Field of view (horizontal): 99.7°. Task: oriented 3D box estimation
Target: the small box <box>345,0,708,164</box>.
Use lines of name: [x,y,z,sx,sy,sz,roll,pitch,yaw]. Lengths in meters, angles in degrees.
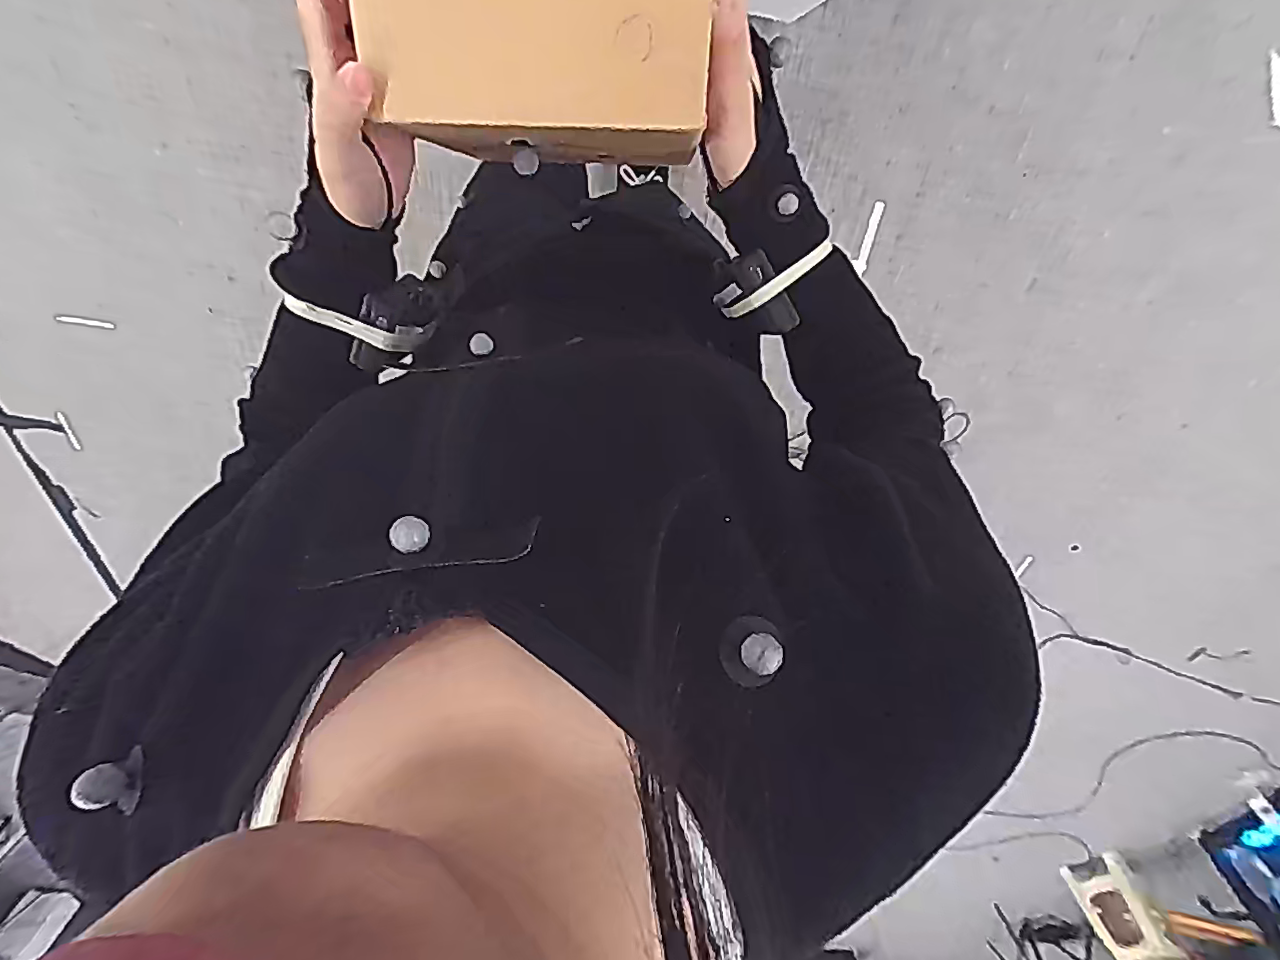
small box: [-0.046,-0.282,0.296,0.168,0.176,0.179,2,114,1]
